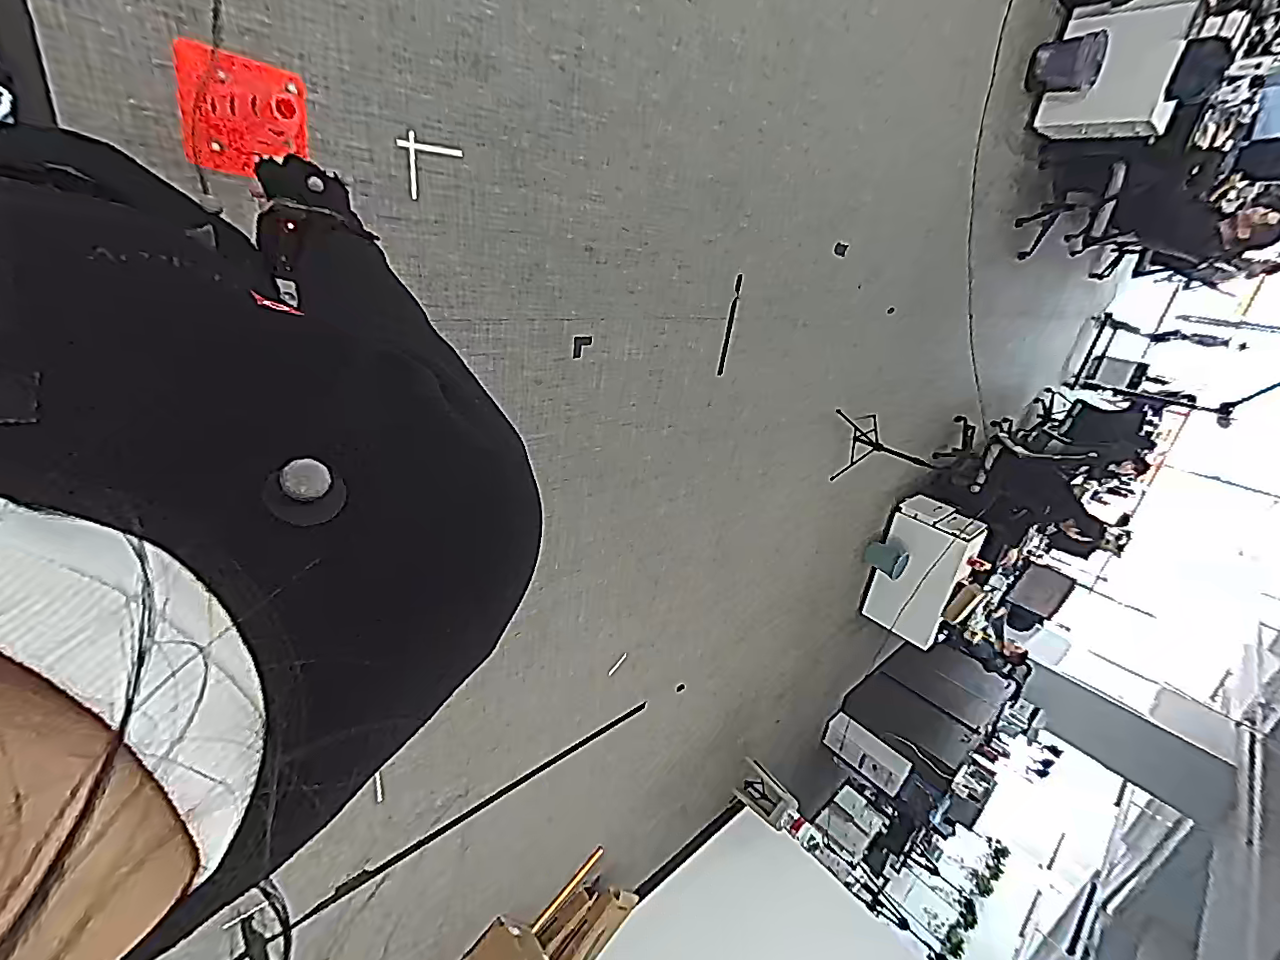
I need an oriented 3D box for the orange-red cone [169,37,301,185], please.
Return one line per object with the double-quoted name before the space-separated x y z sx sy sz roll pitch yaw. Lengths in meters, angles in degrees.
"orange-red cone" -0.639 -0.614 0.908 0.199 0.360 0.198 -9 120 -43
